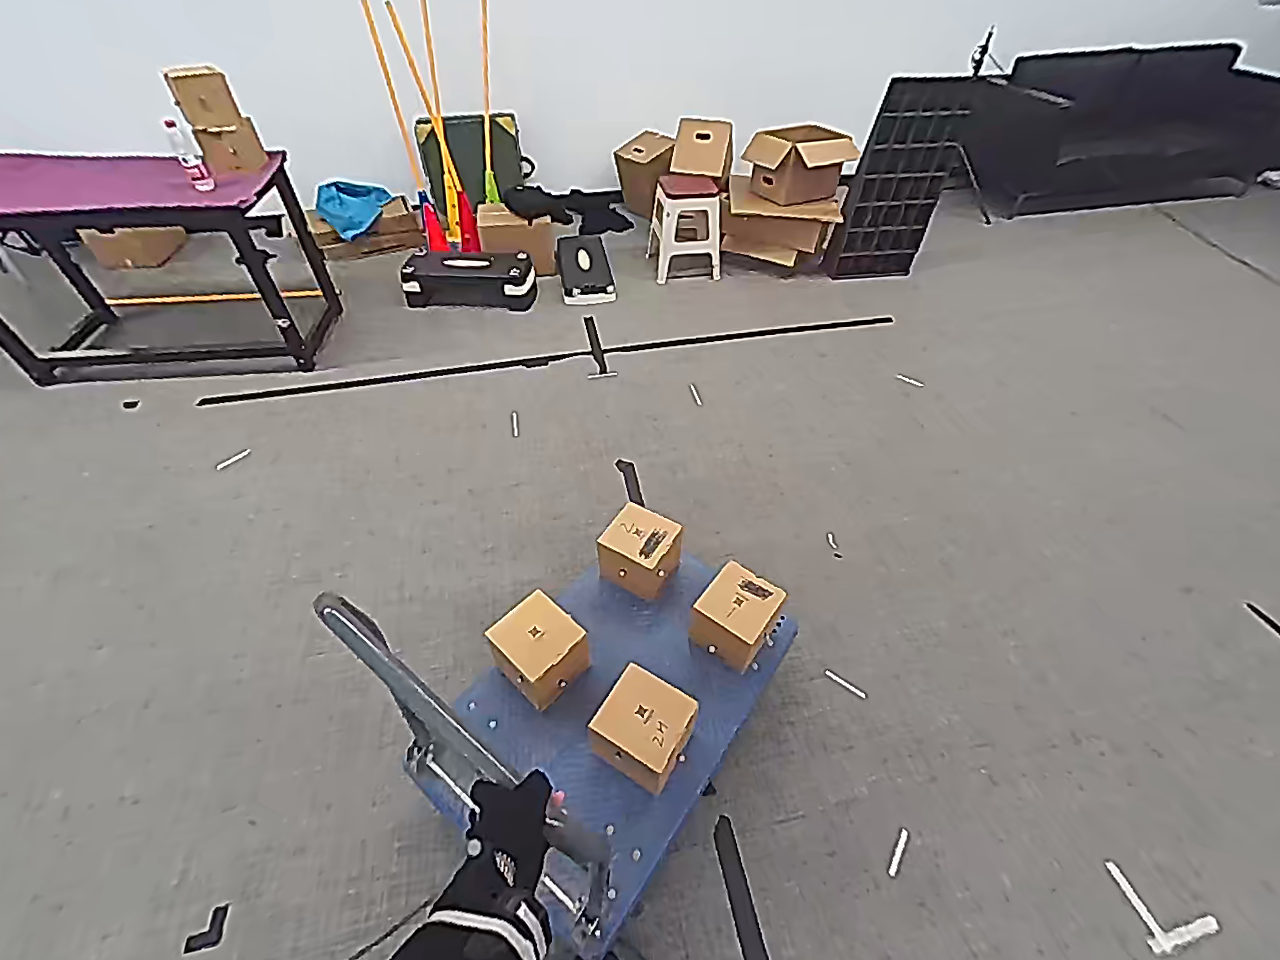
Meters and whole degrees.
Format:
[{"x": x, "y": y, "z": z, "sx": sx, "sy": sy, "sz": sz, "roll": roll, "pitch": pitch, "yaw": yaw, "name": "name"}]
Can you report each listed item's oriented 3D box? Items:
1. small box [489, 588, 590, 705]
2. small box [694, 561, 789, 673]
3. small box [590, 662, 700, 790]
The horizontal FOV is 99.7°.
[{"x": -0.236, "y": 0.404, "z": 1.302, "sx": 0.179, "sy": 0.176, "sz": 0.168, "roll": 35, "pitch": 55, "yaw": 26, "name": "small box"}, {"x": 0.249, "y": 0.346, "z": 1.364, "sx": 0.168, "sy": 0.176, "sz": 0.179, "roll": 31, "pitch": 55, "yaw": 25, "name": "small box"}, {"x": 0.011, "y": 0.540, "z": 1.179, "sx": 0.179, "sy": 0.176, "sz": 0.168, "roll": 26, "pitch": 52, "yaw": 22, "name": "small box"}]
